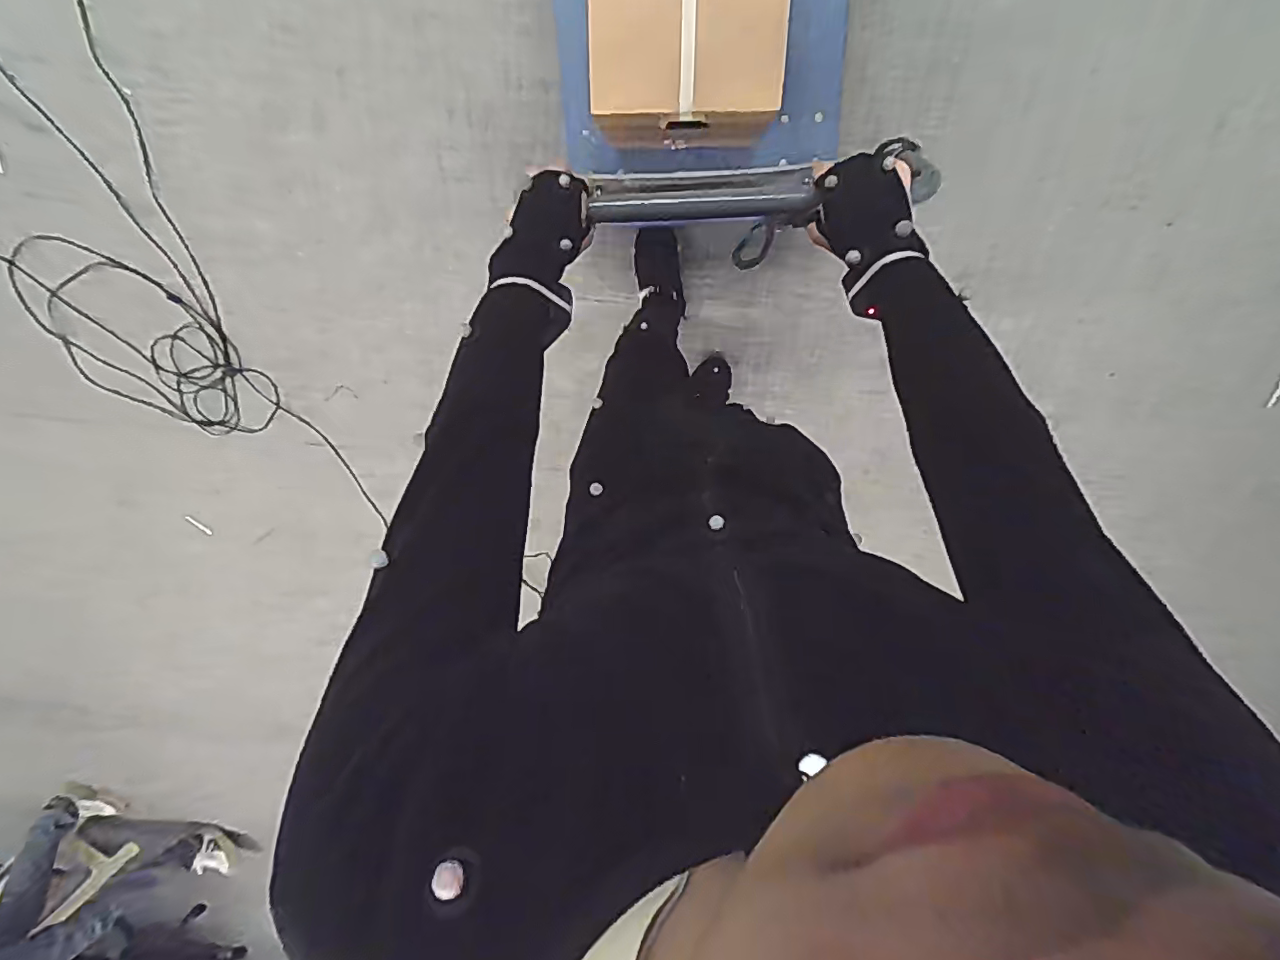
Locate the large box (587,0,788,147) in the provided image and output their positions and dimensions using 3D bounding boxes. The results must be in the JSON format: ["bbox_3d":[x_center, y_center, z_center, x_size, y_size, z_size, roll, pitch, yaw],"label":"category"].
[{"bbox_3d":[0.084,-0.846,0.950,0.320,0.320,0.408,2,112,4],"label":"large box"}]
